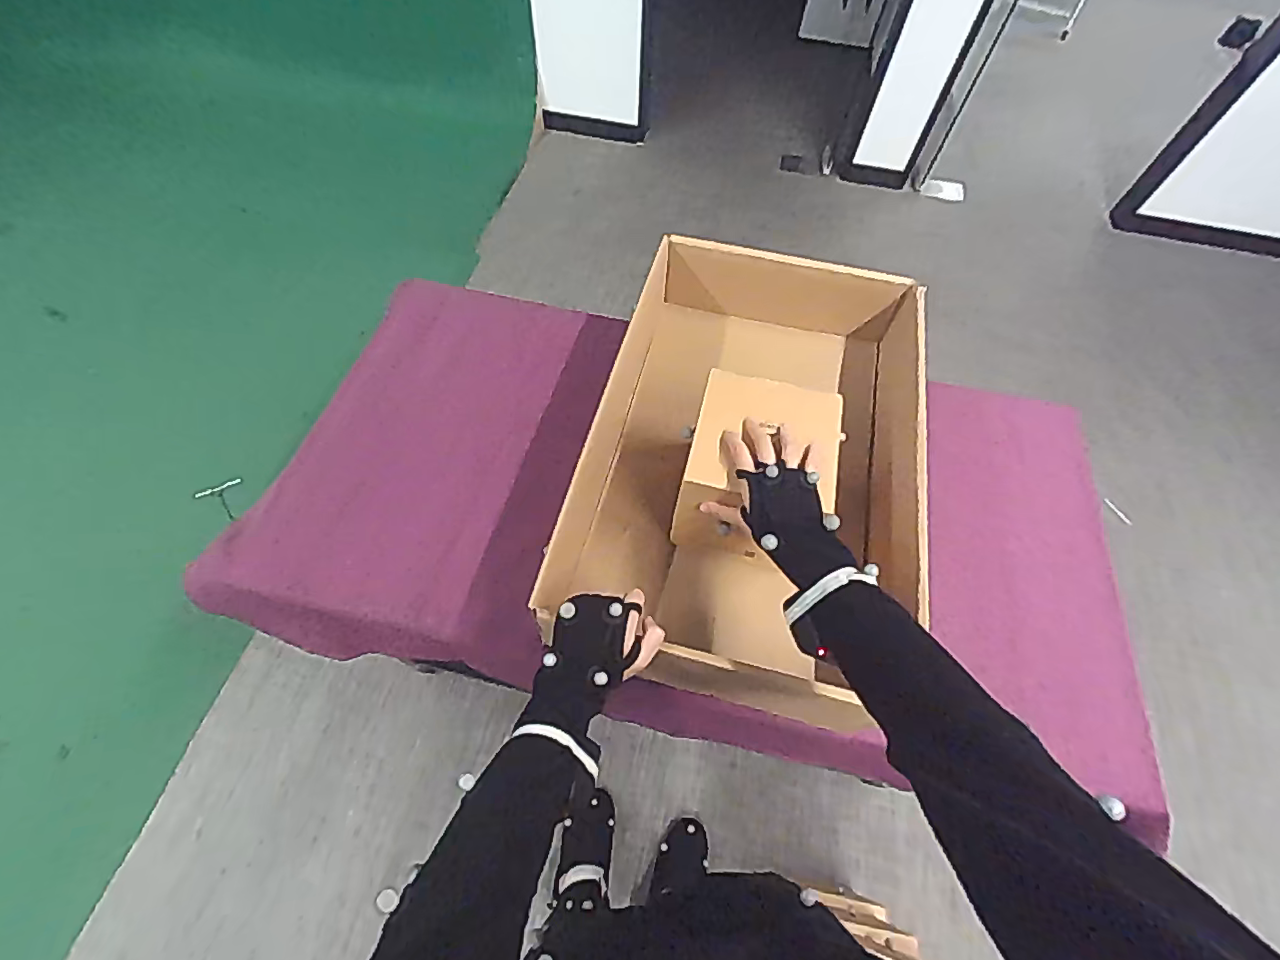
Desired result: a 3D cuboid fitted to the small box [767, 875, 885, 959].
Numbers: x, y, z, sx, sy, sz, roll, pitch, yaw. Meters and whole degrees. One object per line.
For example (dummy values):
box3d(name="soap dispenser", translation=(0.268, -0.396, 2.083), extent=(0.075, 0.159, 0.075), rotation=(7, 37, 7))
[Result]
box3d(name="small box", translation=(0.366, 0.912, 1.076), extent=(0.179, 0.176, 0.168), rotation=(11, 61, 5))

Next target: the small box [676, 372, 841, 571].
box3d(name="small box", translation=(0.144, -0.005, 0.692), extent=(0.168, 0.176, 0.179), rotation=(13, 58, 6))
